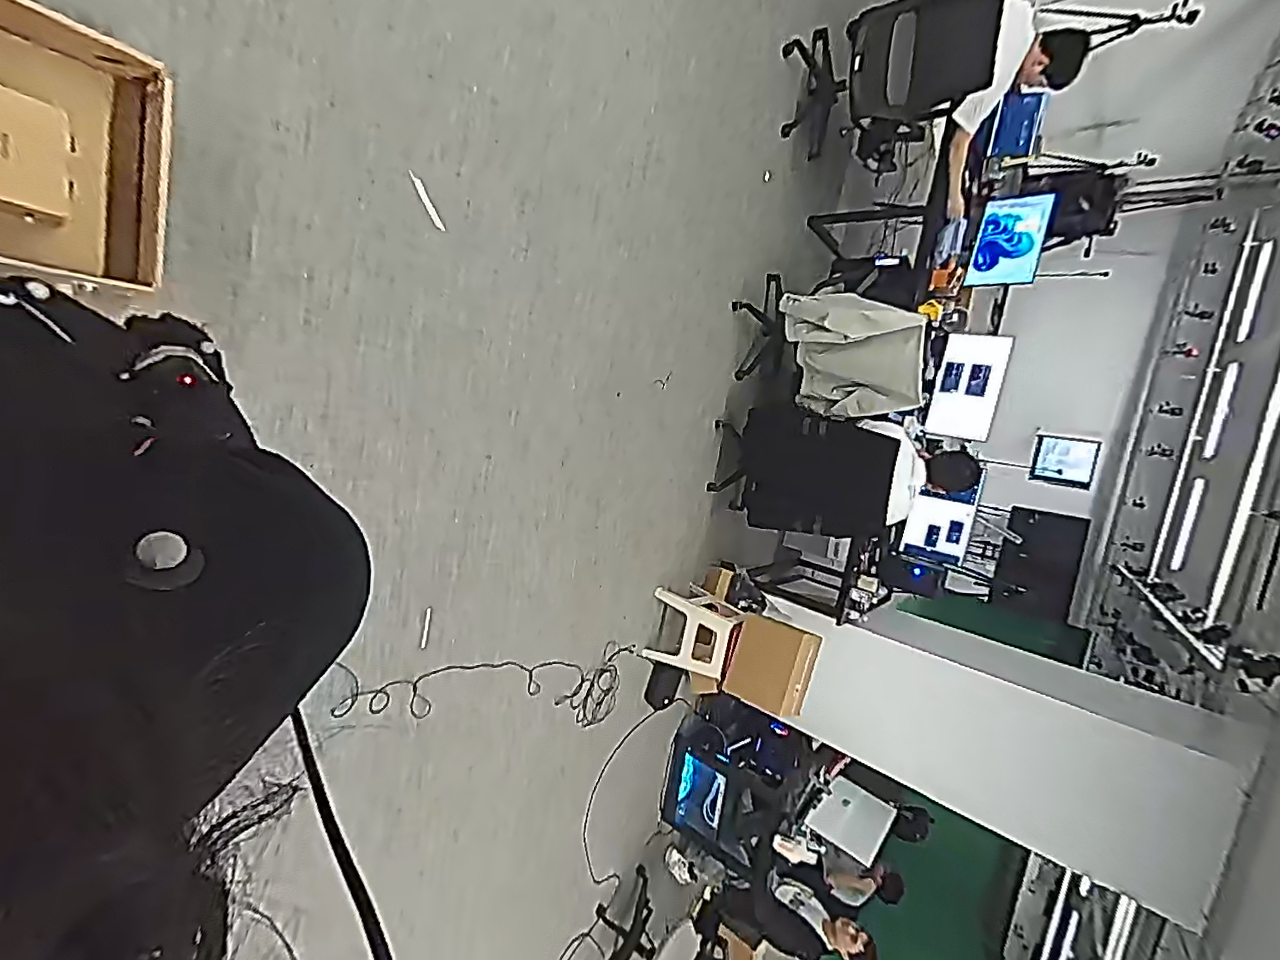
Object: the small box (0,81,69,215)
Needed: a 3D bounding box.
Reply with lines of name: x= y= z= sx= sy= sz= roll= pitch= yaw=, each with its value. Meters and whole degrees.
small box: x=-1.040 y=-0.534 z=0.850 sx=0.179 sy=0.176 sz=0.168 roll=3 pitch=99 yaw=-51
